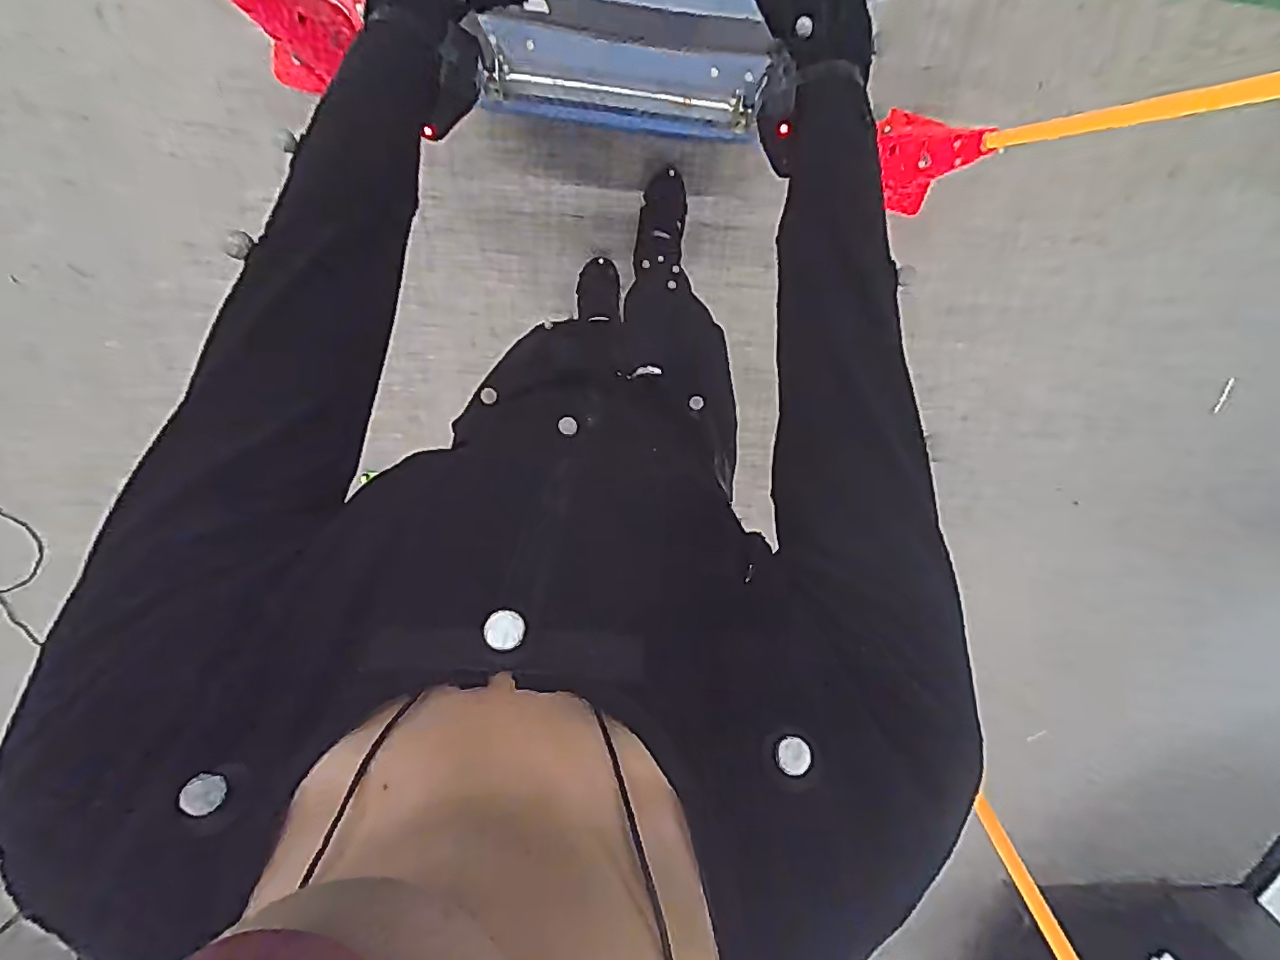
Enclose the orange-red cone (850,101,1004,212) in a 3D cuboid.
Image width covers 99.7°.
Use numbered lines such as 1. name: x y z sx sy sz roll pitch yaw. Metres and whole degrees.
1. orange-red cone: 0.624 -0.687 1.122 0.198 0.360 0.199 12 114 -9
